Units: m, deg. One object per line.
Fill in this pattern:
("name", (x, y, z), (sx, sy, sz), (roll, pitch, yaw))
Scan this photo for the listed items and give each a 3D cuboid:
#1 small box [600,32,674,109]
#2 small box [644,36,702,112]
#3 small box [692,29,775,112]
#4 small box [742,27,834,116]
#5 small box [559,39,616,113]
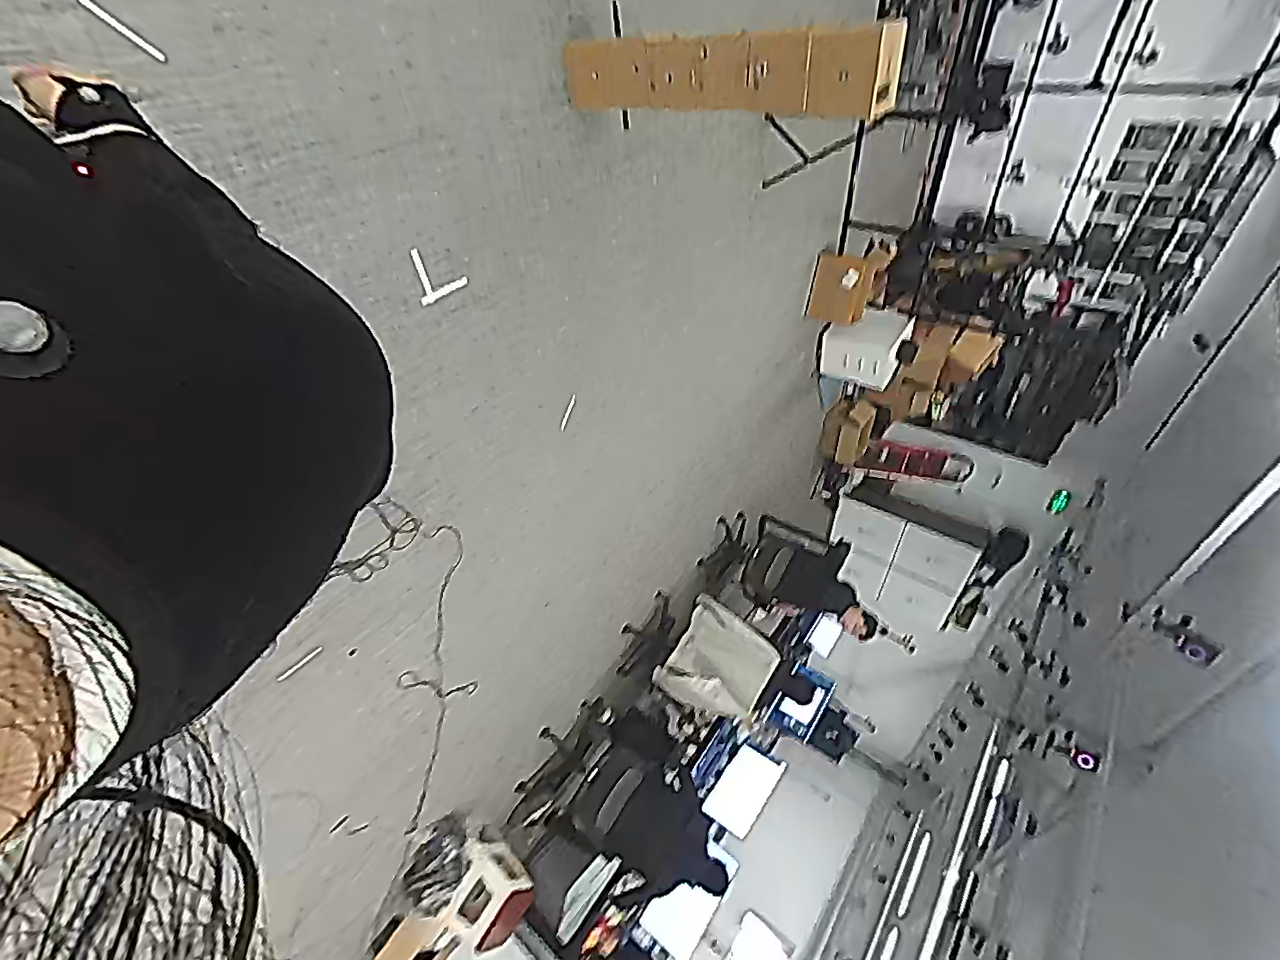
("small box", (-0.008, -1.245, 1.649), (0.168, 0.176, 0.179), (-41, 141, -35))
("small box", (0.123, -1.182, 1.575), (0.179, 0.176, 0.168), (-41, 142, -35))
("small box", (0.254, -1.128, 1.492), (0.179, 0.176, 0.168), (-43, 143, -35))
("small box", (0.383, -1.068, 1.414), (0.179, 0.176, 0.168), (-43, 142, -32))
("small box", (-0.135, -1.301, 1.737), (0.168, 0.176, 0.179), (-43, 143, -34))
